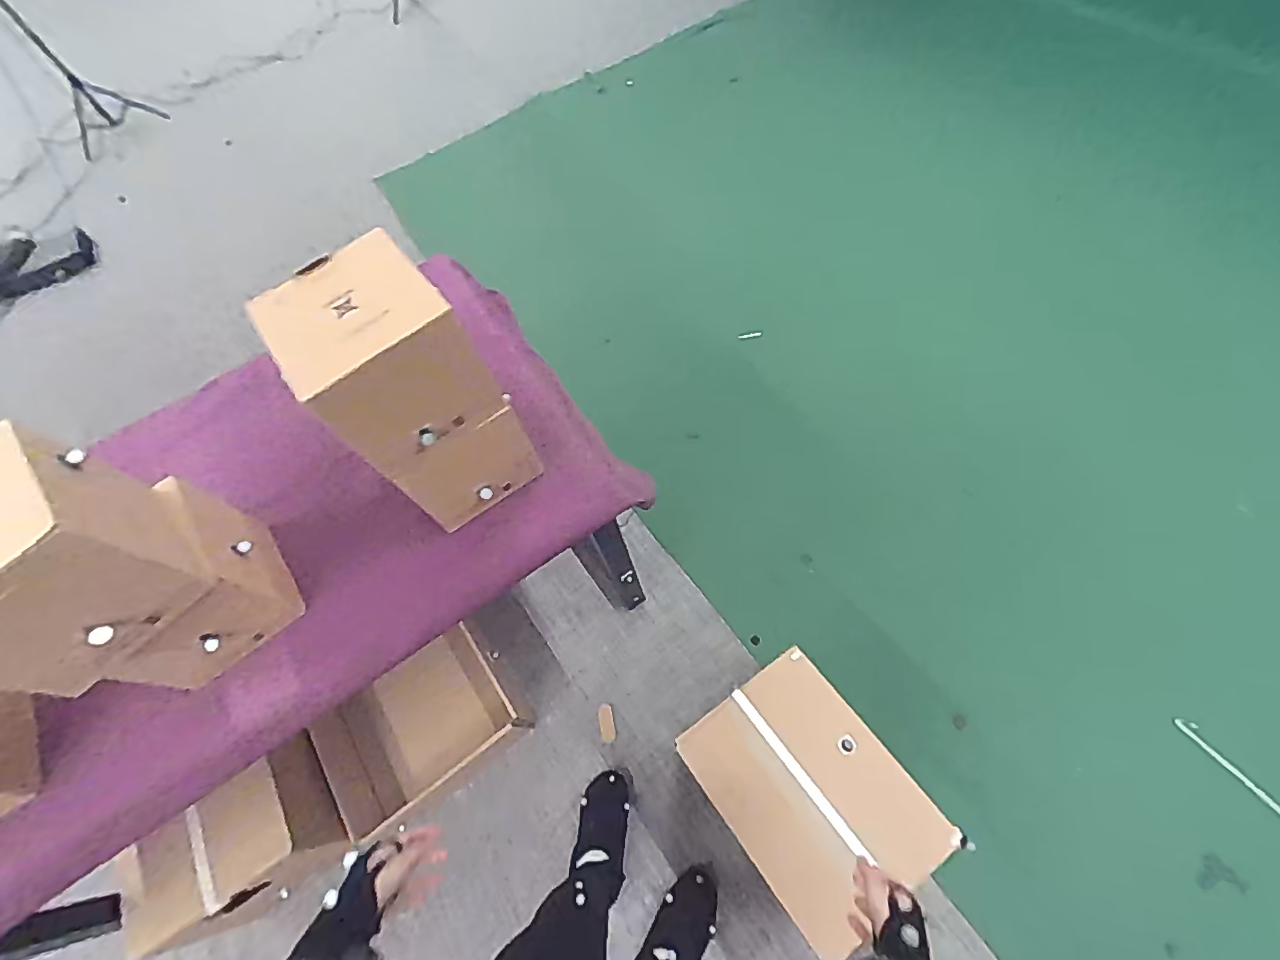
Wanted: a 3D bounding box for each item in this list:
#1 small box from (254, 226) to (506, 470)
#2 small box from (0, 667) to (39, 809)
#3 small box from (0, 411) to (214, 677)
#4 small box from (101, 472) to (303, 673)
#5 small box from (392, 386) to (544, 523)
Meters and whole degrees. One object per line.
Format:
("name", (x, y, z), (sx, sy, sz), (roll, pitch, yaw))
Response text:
("small box", (-0.285, -0.144, 0.621), (0.168, 0.176, 0.179), (-37, 64, -11))
("small box", (-0.871, 0.323, 0.628), (0.168, 0.176, 0.179), (-32, 65, -11))
("small box", (-0.589, 0.071, 0.540), (0.179, 0.176, 0.168), (40, 74, 23))
("small box", (-0.581, 0.128, 0.697), (0.168, 0.176, 0.179), (-37, 65, -13))
("small box", (-0.262, -0.071, 0.764), (0.168, 0.176, 0.179), (-35, 64, -11))
